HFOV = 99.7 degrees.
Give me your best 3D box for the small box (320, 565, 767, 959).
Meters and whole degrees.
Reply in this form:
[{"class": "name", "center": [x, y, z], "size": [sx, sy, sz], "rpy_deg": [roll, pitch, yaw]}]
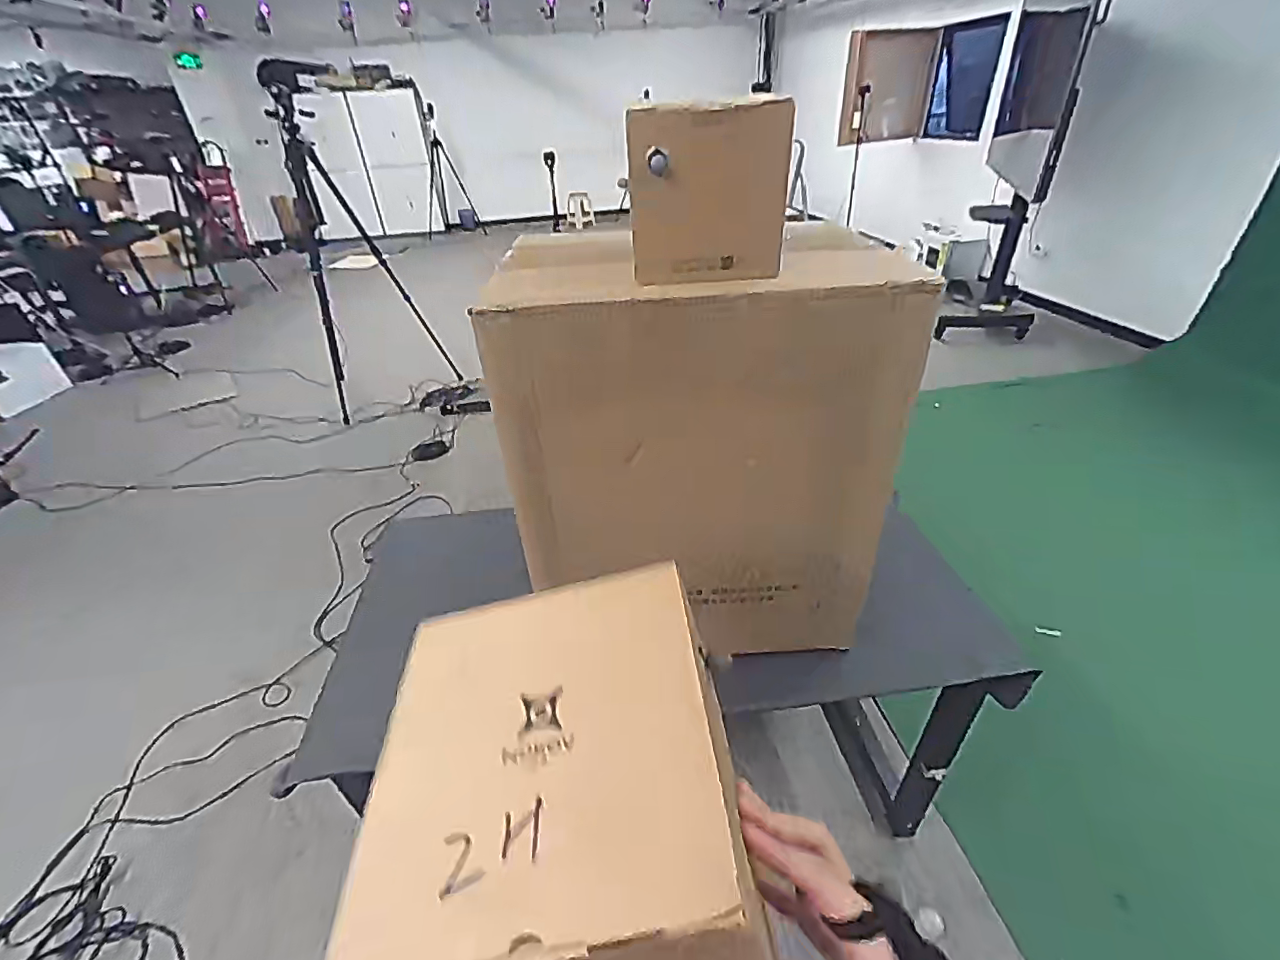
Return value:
[{"class": "small box", "center": [-0.031, 0.181, 0.309], "size": [0.168, 0.176, 0.179], "rpy_deg": [-13, 40, 4]}]
